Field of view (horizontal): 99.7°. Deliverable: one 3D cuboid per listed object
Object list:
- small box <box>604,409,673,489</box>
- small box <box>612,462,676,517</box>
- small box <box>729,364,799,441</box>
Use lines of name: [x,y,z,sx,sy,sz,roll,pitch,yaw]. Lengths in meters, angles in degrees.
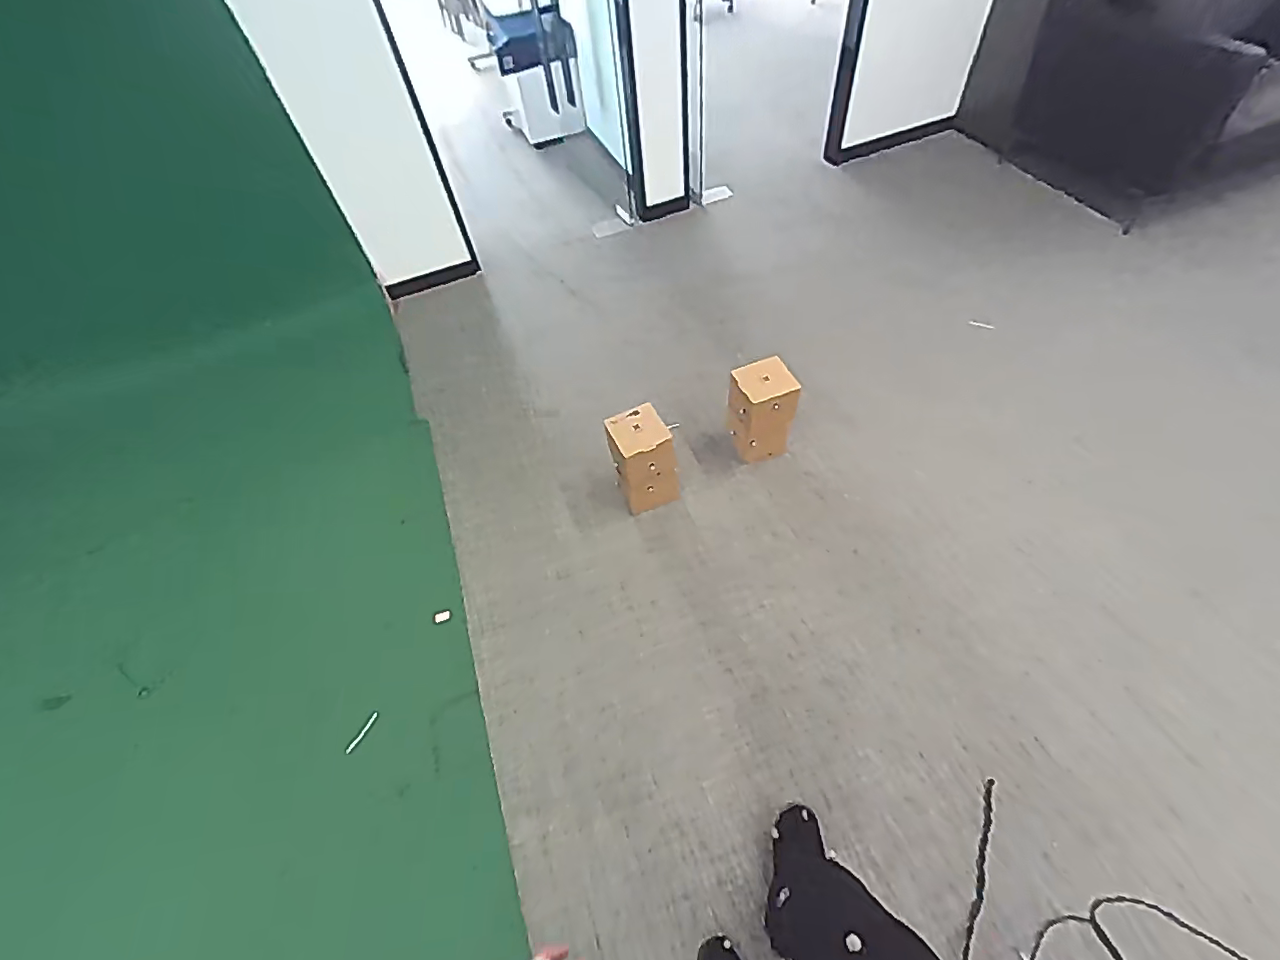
small box: [-0.001,-0.092,1.748,0.168,0.176,0.179,-23,55,-11]
small box: [0.017,0.005,1.879,0.179,0.176,0.168,-20,54,-10]
small box: [0.411,-0.258,1.824,0.179,0.176,0.168,-19,54,-9]
